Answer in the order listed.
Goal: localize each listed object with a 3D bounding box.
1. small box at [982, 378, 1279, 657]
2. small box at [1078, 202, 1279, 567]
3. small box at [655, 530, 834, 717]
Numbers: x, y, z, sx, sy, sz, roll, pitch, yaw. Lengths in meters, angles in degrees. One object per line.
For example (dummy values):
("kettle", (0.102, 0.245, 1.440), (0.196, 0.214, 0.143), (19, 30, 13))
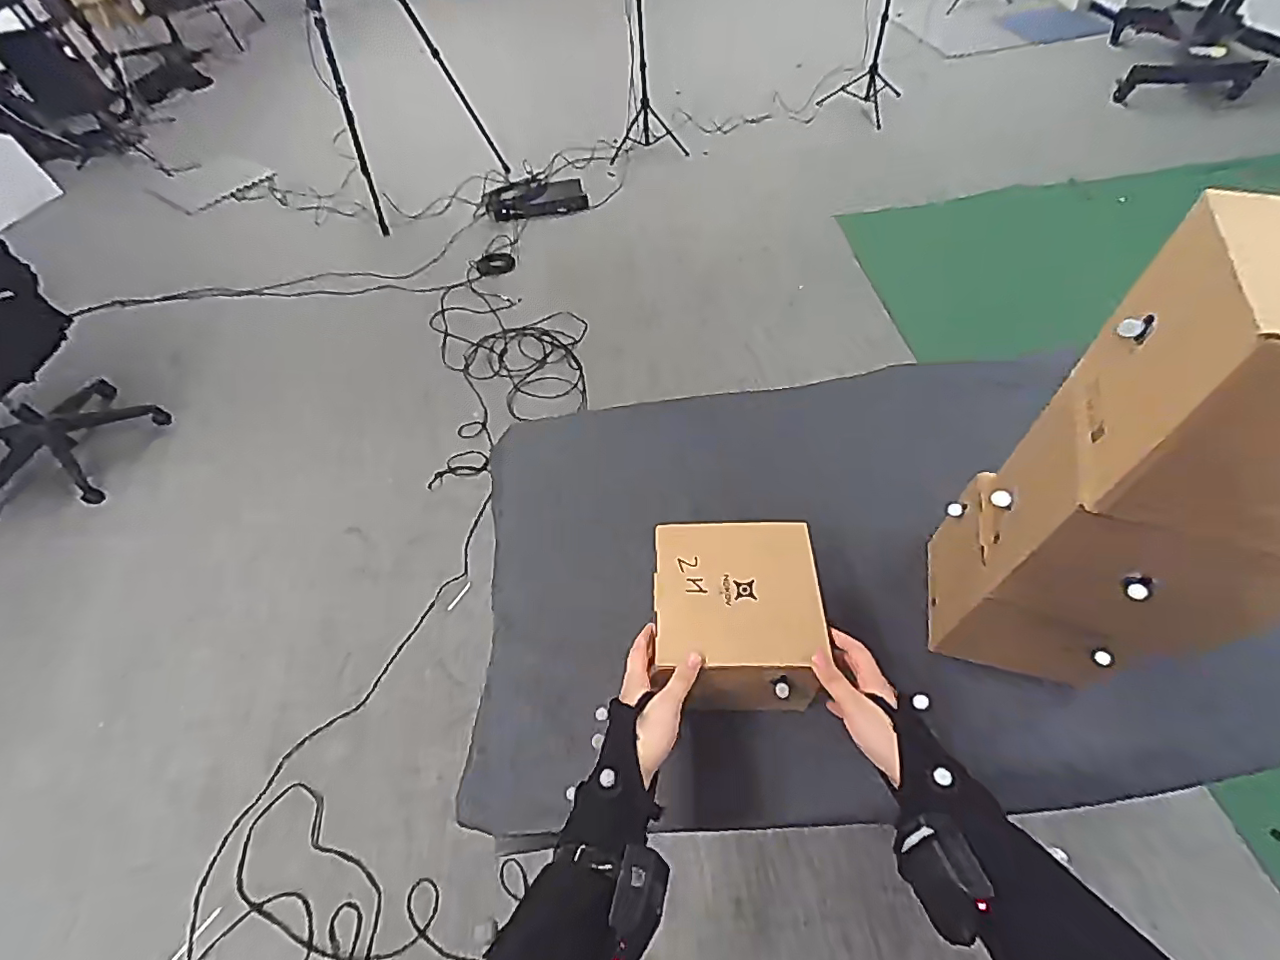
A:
("small box", (0.448, 0.040, 0.493), (0.179, 0.176, 0.168), (18, 56, 18))
("small box", (0.432, -0.058, 0.364), (0.179, 0.176, 0.168), (16, 56, 16))
("small box", (0.109, 0.172, 0.636), (0.179, 0.176, 0.168), (-2, 53, 5))
